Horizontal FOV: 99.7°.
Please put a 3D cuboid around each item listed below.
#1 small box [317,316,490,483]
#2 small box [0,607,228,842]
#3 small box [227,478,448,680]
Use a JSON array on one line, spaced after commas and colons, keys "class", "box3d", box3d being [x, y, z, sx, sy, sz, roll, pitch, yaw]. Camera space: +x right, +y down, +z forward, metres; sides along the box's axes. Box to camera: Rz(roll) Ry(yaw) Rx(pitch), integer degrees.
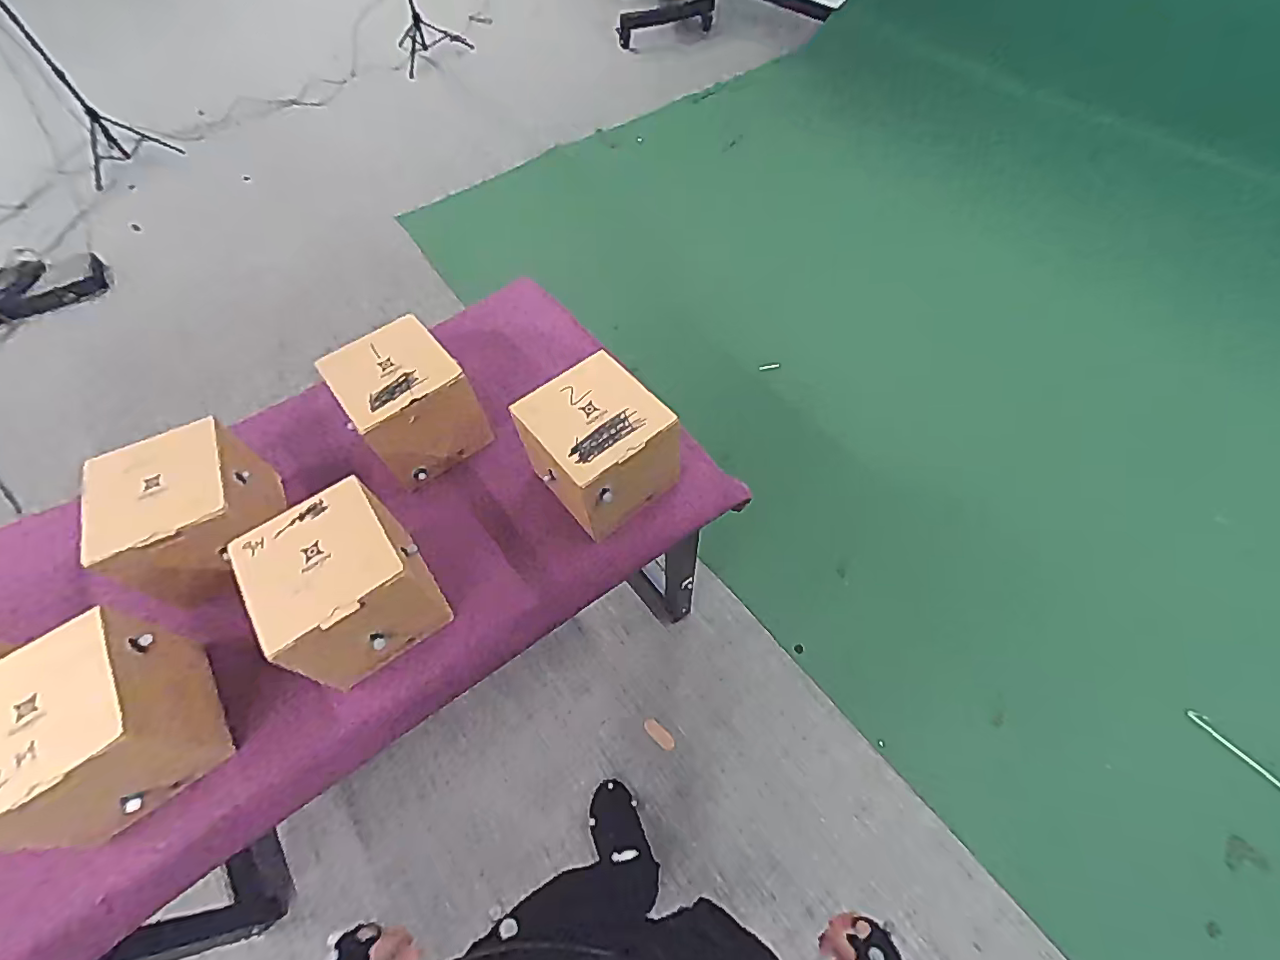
[{"class": "small box", "box3d": [-0.365, -0.119, 0.861, 0.168, 0.176, 0.179, -35, 62, -18]}, {"class": "small box", "box3d": [-0.625, 0.283, 0.619, 0.168, 0.176, 0.179, -33, 62, -17]}, {"class": "small box", "box3d": [-0.378, 0.137, 0.701, 0.168, 0.176, 0.179, -33, 61, -17]}]
